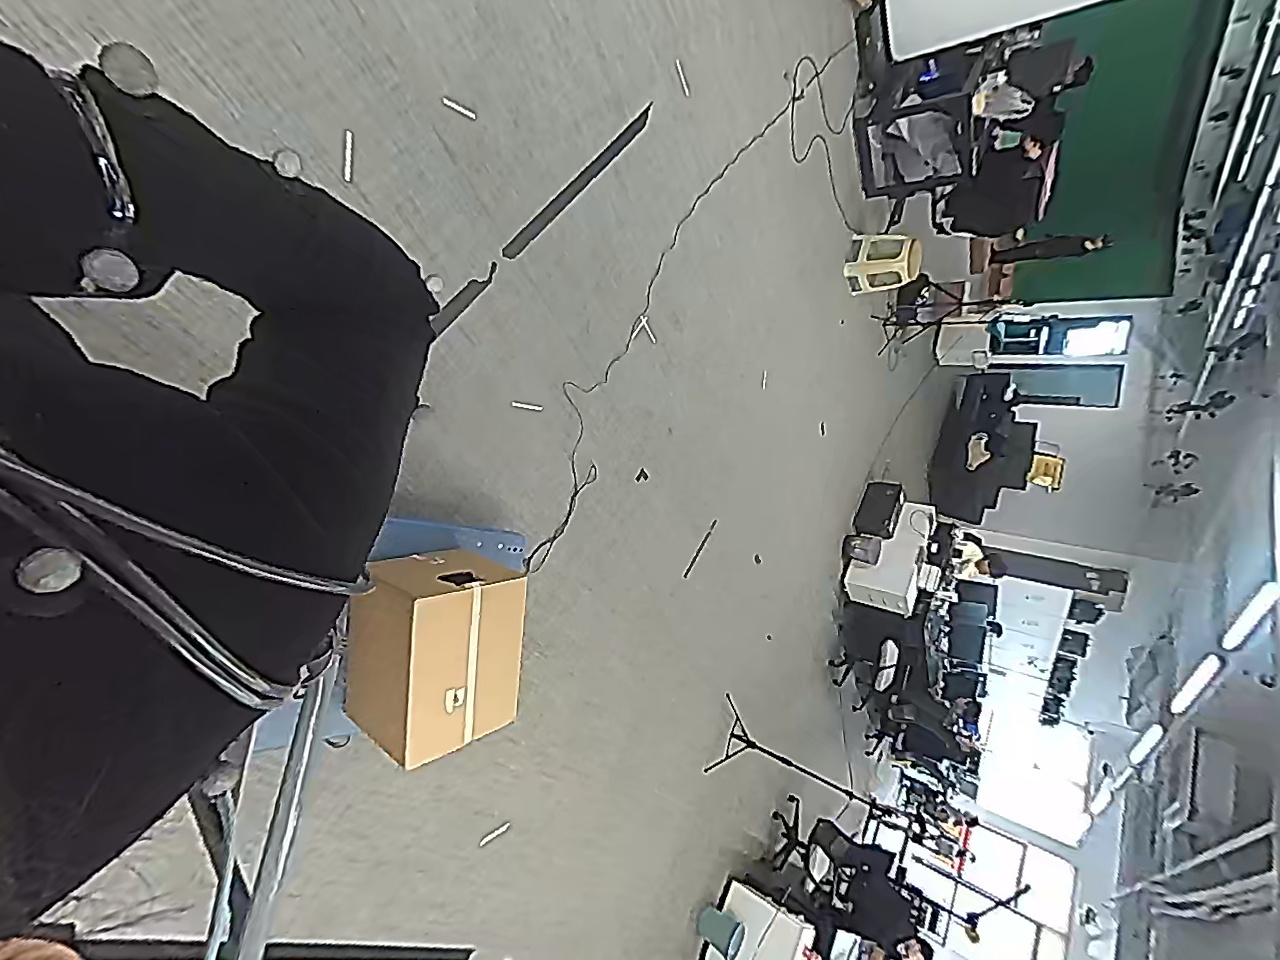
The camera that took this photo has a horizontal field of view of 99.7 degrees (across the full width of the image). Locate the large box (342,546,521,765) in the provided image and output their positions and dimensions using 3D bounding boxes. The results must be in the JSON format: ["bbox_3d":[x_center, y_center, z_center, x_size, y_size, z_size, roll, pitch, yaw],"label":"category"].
[{"bbox_3d":[-0.534,0.413,1.383,0.320,0.320,0.408,-2,101,-51],"label":"large box"}]
